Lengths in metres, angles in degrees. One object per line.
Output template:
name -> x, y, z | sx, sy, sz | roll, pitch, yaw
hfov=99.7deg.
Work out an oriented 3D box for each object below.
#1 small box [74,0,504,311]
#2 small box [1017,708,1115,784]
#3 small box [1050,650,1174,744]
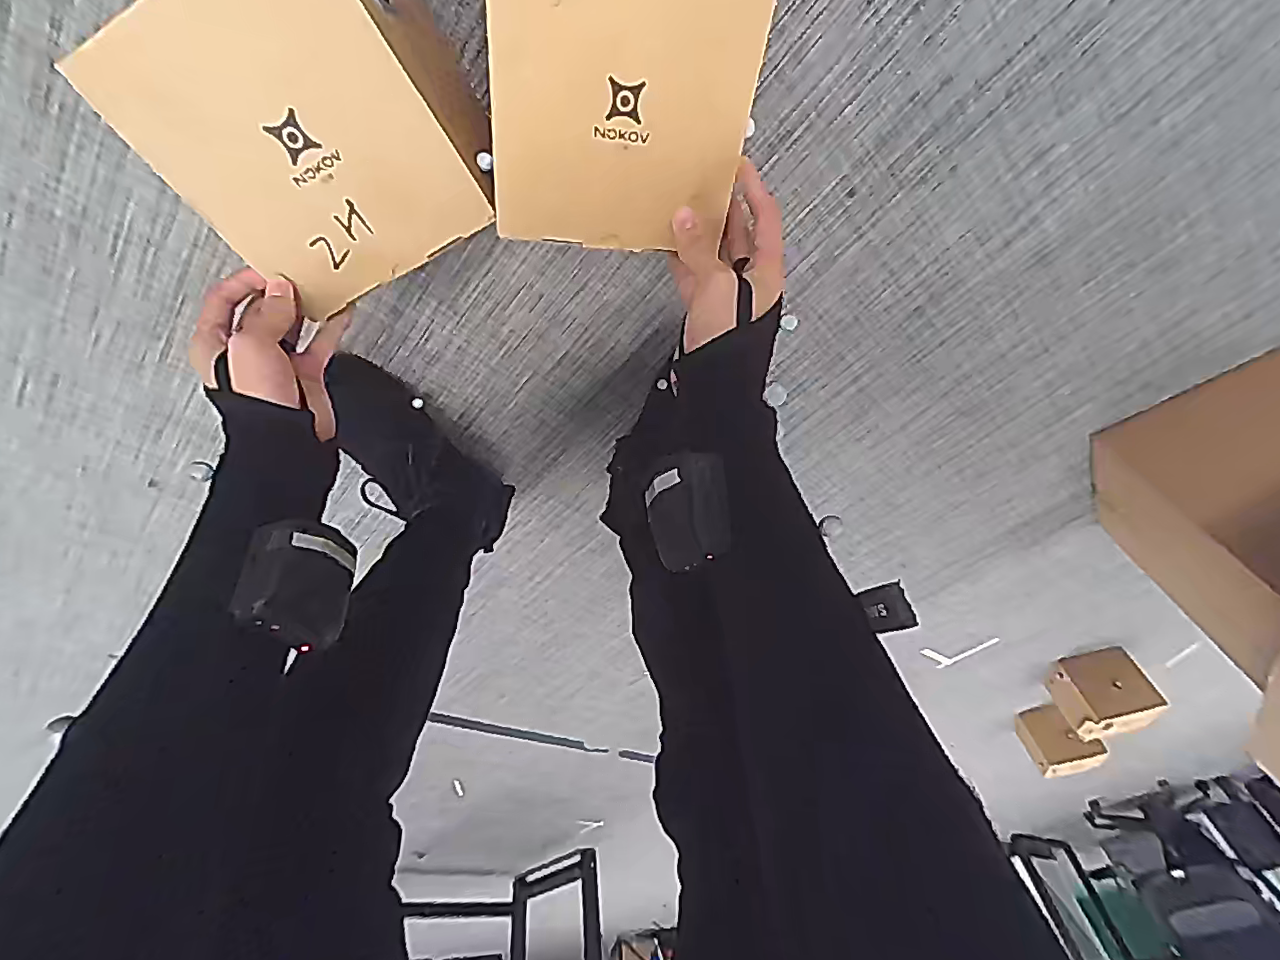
small box -> -0.217, -0.265, 0.395 | 0.168, 0.176, 0.179 | -23, 134, 12
small box -> 1.384, 0.865, 1.769 | 0.179, 0.176, 0.168 | -22, 133, 10
small box -> 1.287, 0.598, 1.494 | 0.179, 0.176, 0.168 | -17, 134, 6
